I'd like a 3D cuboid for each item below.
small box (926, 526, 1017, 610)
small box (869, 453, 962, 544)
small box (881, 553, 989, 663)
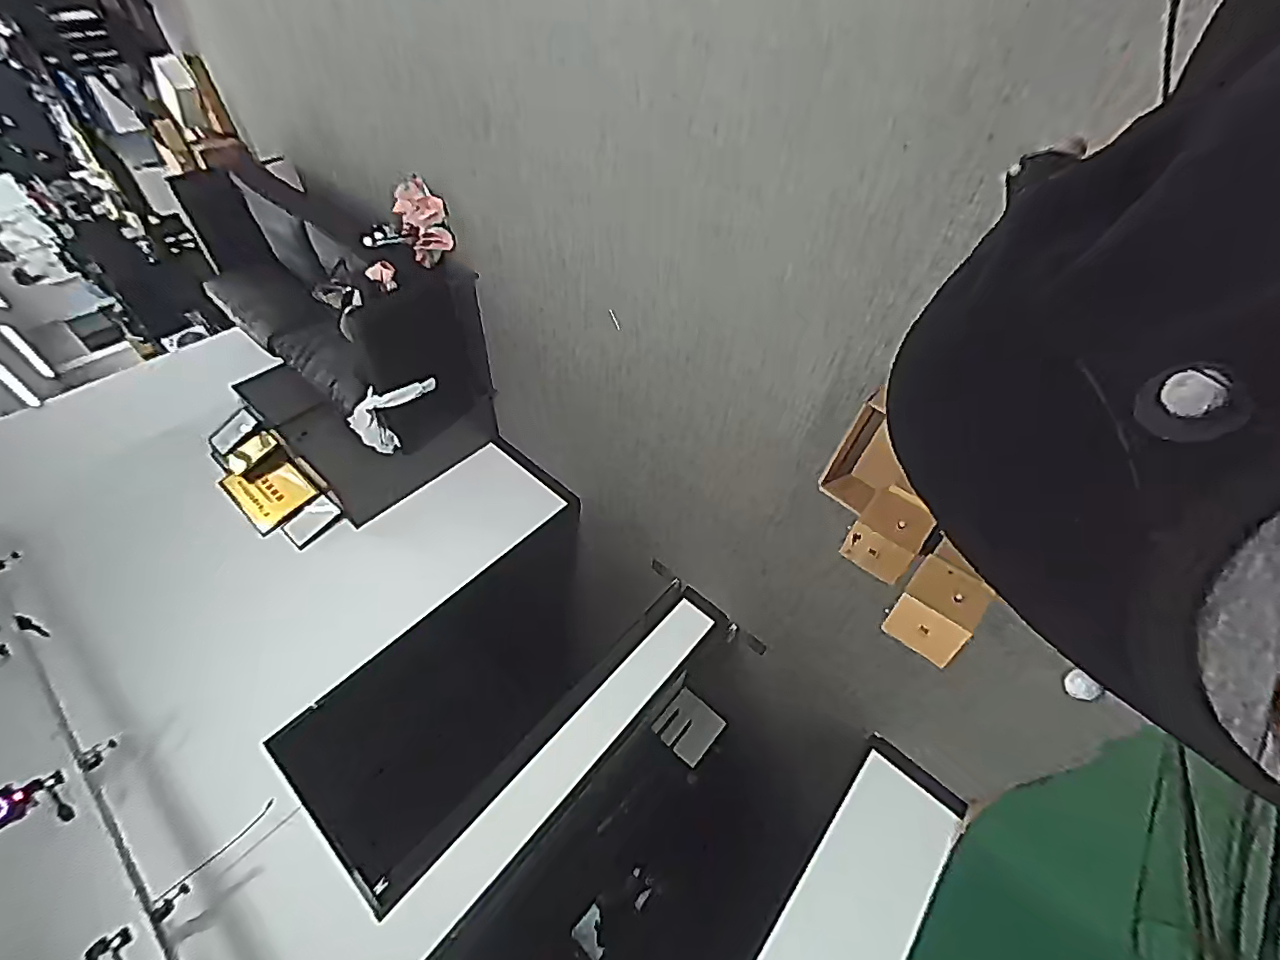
[{"bbox_3d":[0.870,0.248,1.467,0.179,0.176,0.168,36,145,24],"label":"small box"},{"bbox_3d":[0.833,0.055,1.632,0.168,0.176,0.179,36,146,20],"label":"small box"},{"bbox_3d":[0.754,0.320,1.378,0.168,0.176,0.179,34,145,28],"label":"small box"}]
